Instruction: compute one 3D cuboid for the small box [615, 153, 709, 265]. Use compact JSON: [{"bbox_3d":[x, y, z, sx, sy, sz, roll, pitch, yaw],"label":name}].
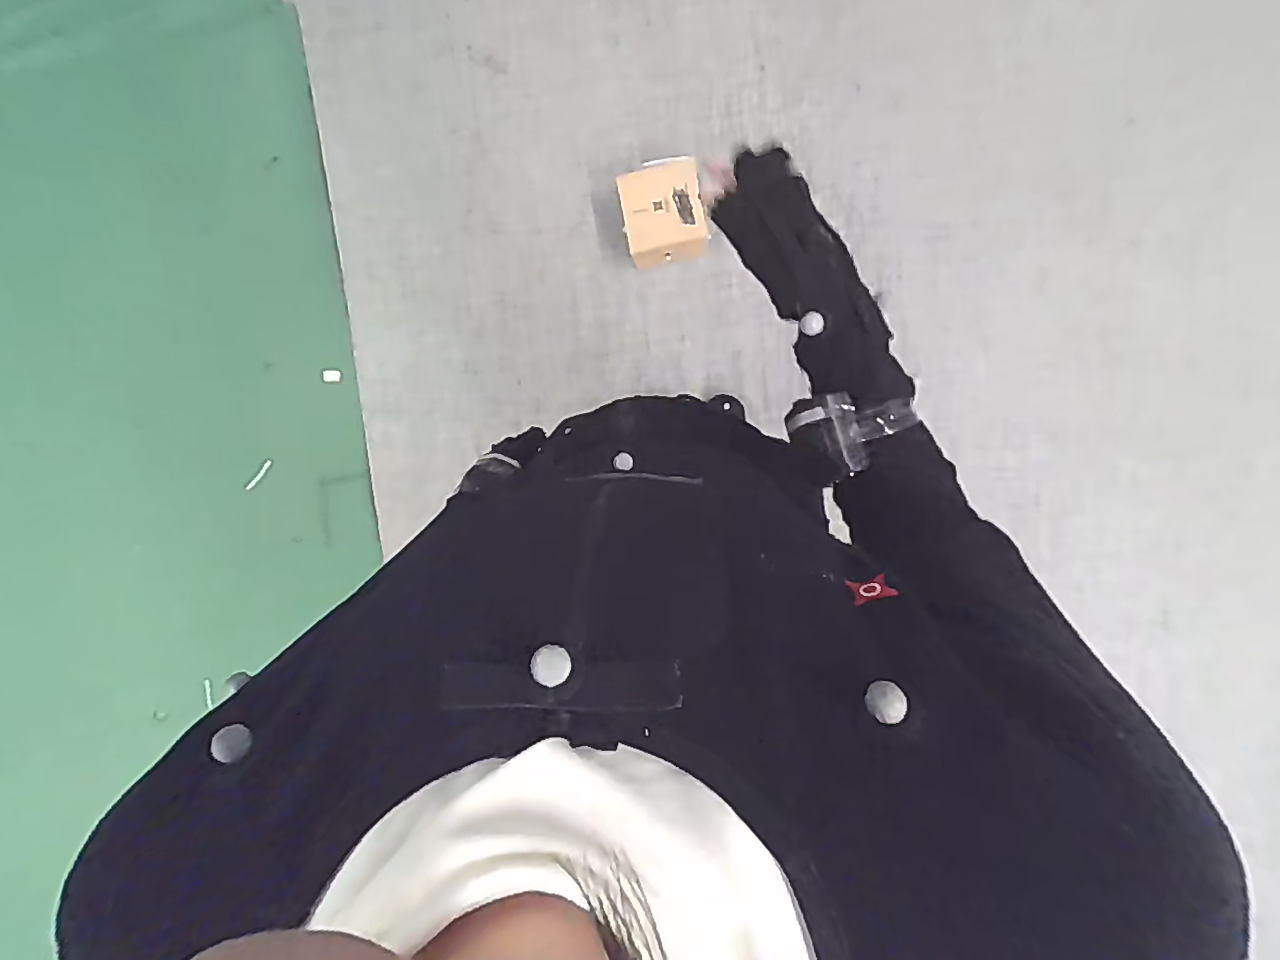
[{"bbox_3d":[0.054,-0.617,1.252,0.179,0.176,0.168,-13,98,8],"label":"small box"}]
